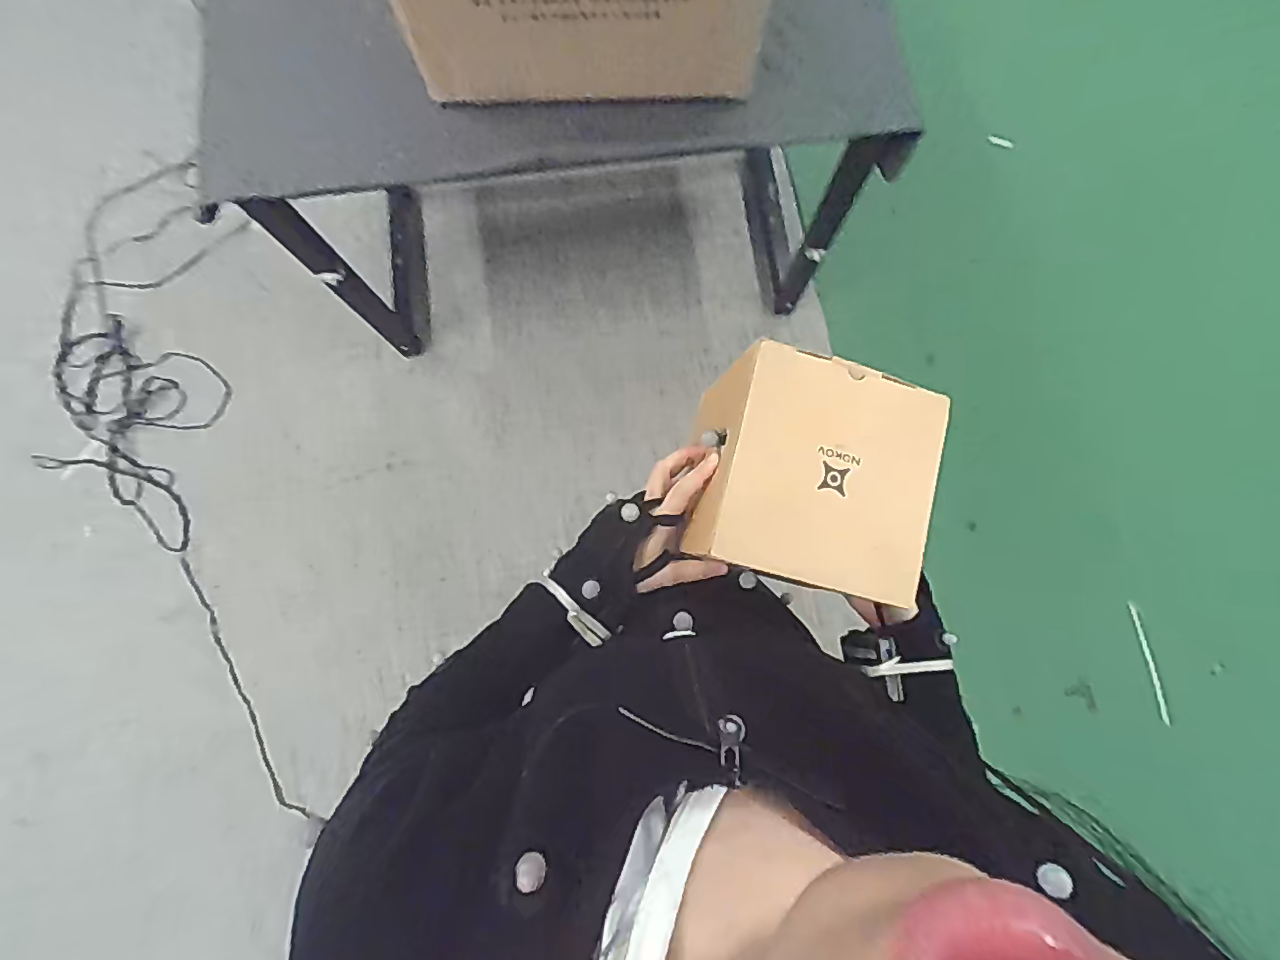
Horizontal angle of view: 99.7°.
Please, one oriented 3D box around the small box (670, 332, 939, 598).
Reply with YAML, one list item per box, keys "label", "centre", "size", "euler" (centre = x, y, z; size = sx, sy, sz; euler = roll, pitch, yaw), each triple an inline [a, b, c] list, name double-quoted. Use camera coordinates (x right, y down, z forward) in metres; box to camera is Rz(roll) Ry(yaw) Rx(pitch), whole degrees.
- label: "small box"
  centre: [0.132, -0.004, 0.495]
  size: [0.168, 0.176, 0.179]
  euler: [15, 82, -6]
